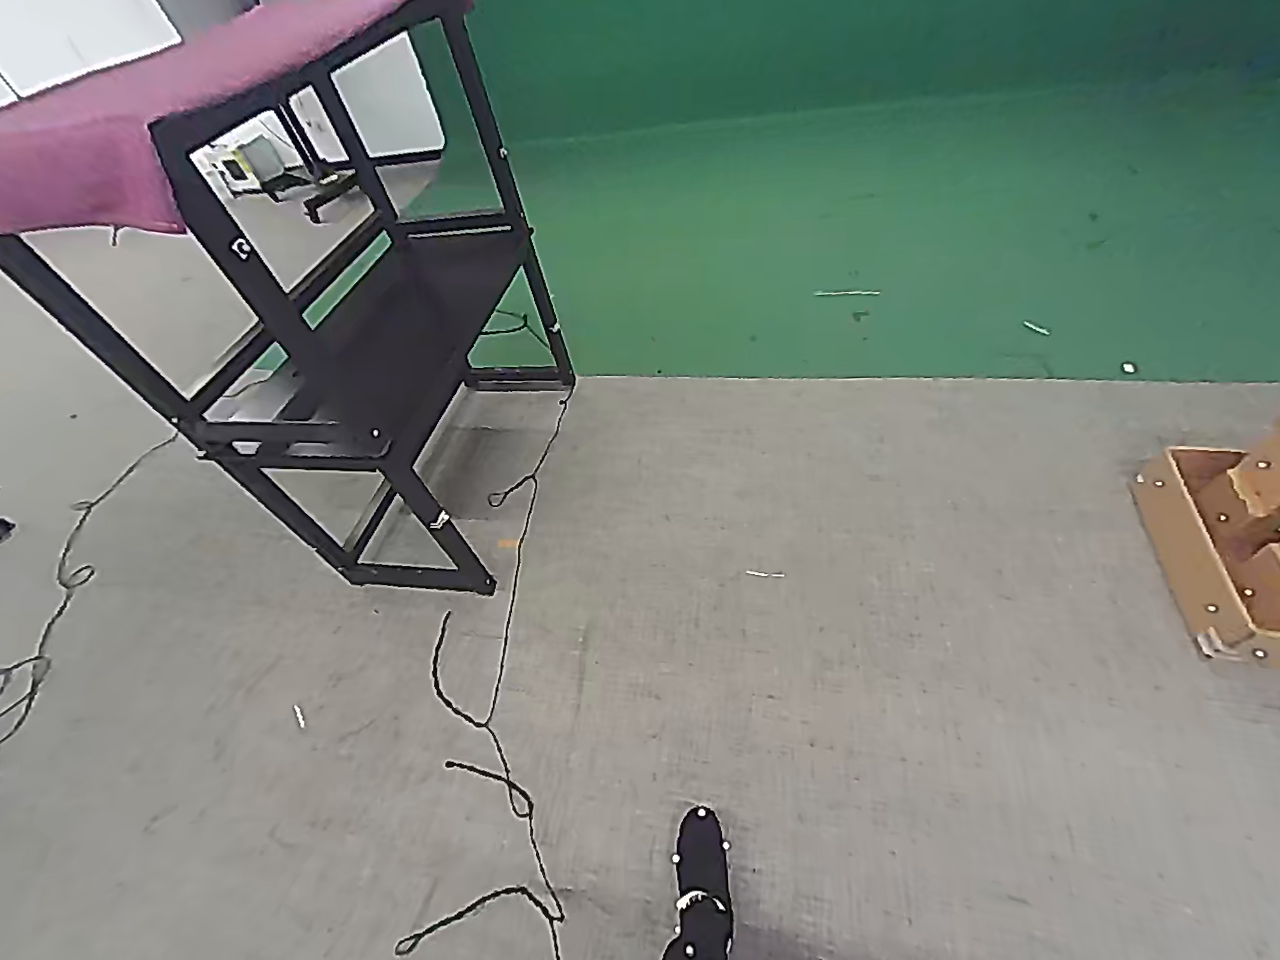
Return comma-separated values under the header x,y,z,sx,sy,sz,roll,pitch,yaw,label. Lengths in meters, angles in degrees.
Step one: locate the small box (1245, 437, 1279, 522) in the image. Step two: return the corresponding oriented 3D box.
x,y,z,sx,sy,sz,roll,pitch,yaw,label
1.733,0.004,1.388,0.179,0.176,0.168,2,52,14,small box
